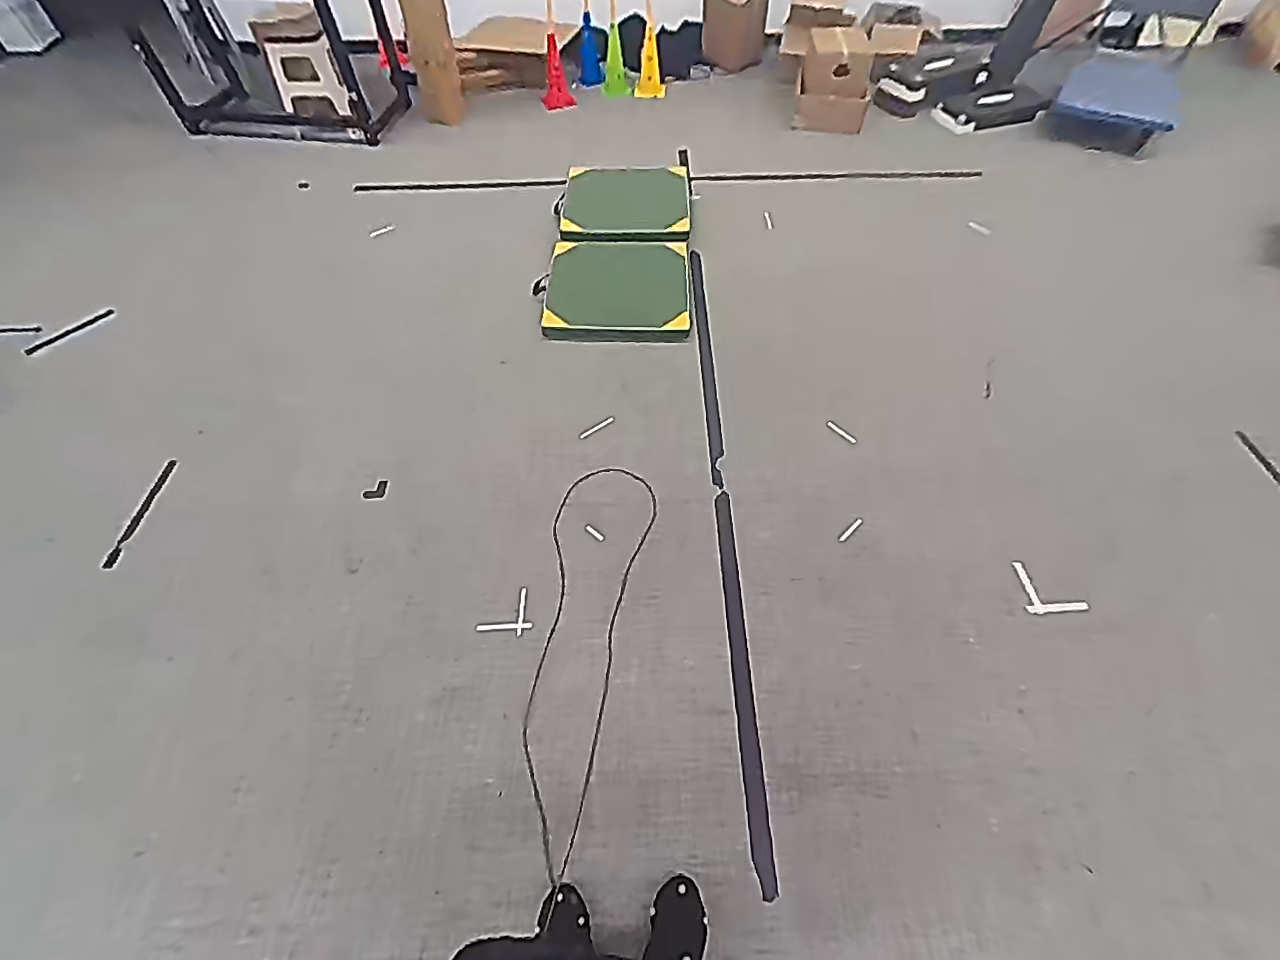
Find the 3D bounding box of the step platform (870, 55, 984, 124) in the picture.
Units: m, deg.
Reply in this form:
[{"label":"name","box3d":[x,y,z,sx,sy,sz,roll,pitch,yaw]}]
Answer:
[{"label":"step platform","box3d":[1.798,-2.452,3.384,0.684,0.204,0.286,-25,59,-16]}]
